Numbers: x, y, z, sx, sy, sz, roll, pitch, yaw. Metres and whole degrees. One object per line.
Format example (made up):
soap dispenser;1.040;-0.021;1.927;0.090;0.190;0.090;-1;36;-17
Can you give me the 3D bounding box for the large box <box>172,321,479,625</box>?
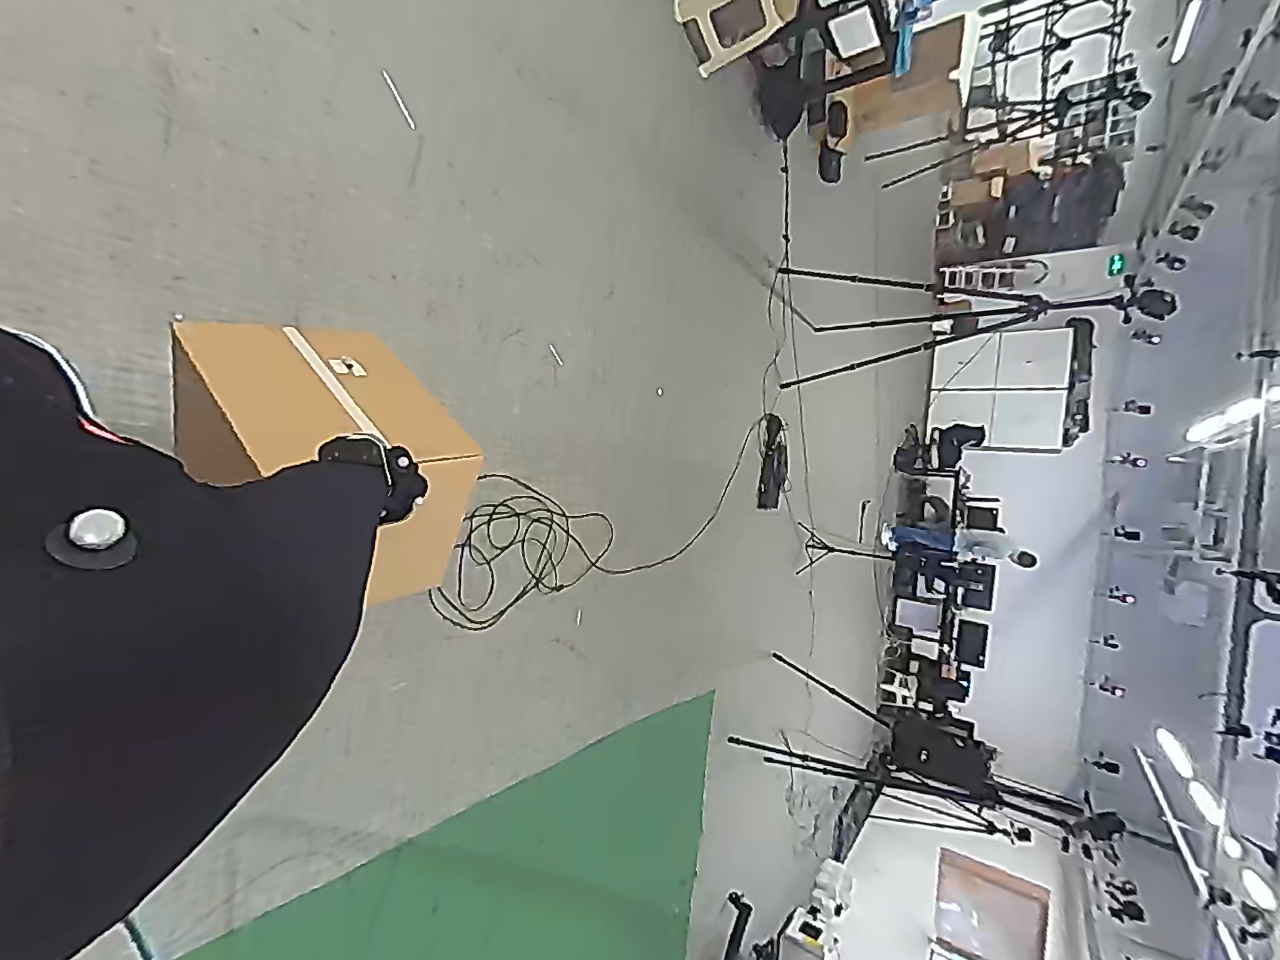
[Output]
large box;-0.549;-0.033;0.937;0.320;0.408;0.320;-13;137;-50
